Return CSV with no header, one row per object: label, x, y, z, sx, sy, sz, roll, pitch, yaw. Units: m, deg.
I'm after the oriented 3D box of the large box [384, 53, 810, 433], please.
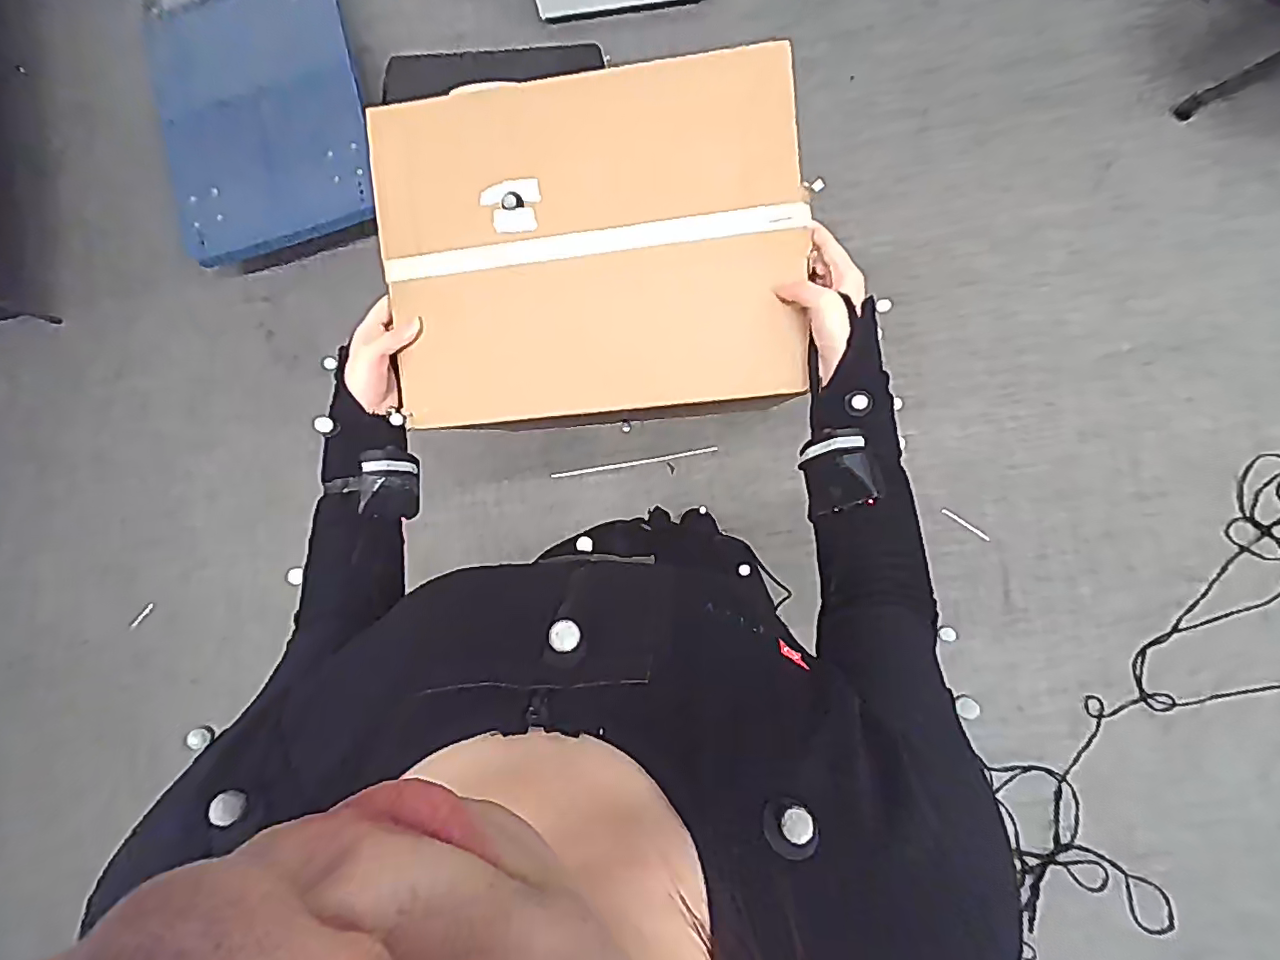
large box,-0.029,-0.234,0.676,0.408,0.320,0.320,-5,93,8
